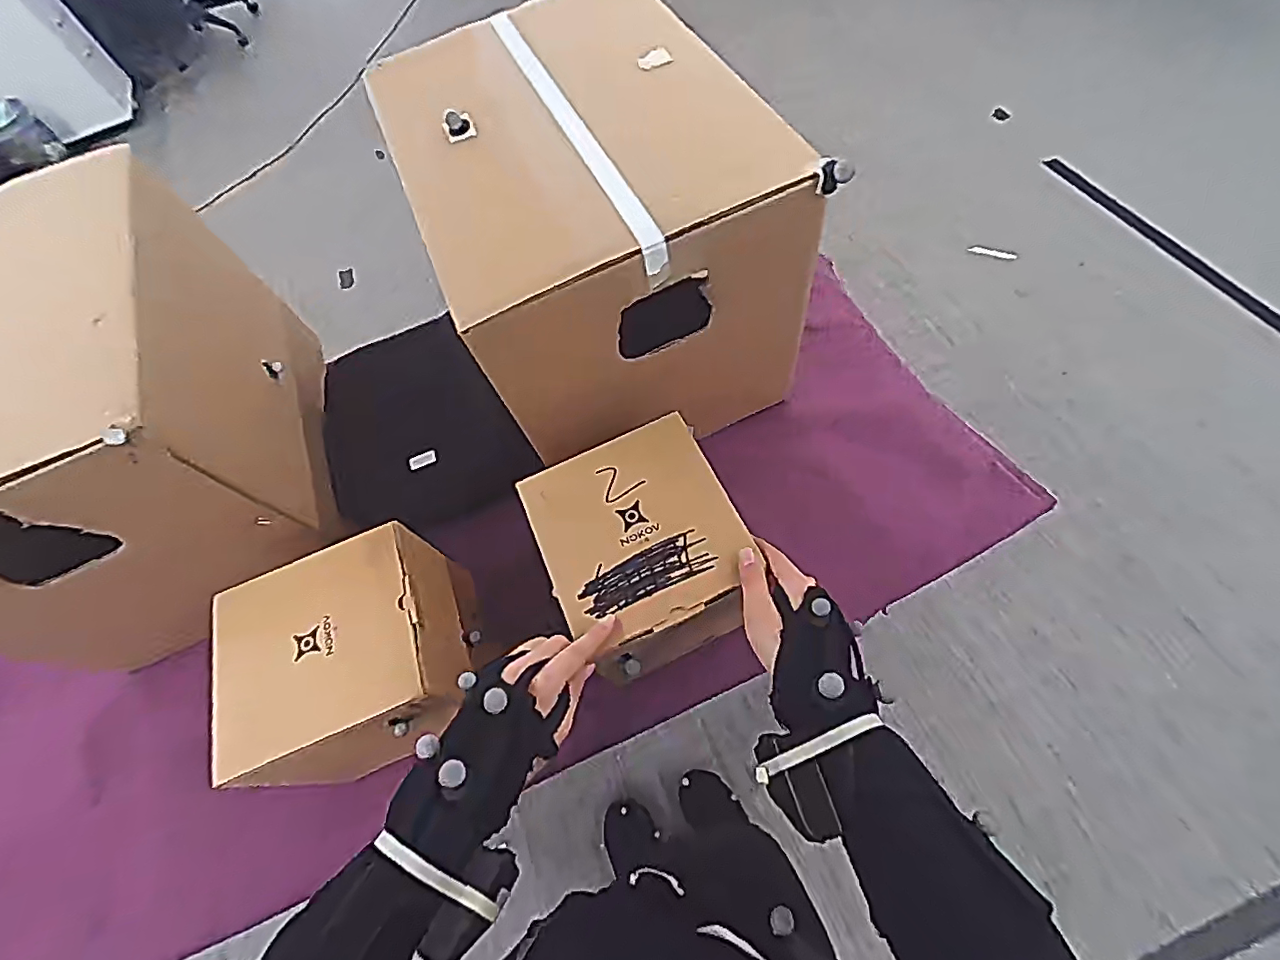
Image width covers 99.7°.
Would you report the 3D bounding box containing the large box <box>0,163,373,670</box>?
[{"bbox_3d":[-0.567,-0.054,0.610,0.320,0.320,0.408,-27,65,-5],"label":"large box"}]
